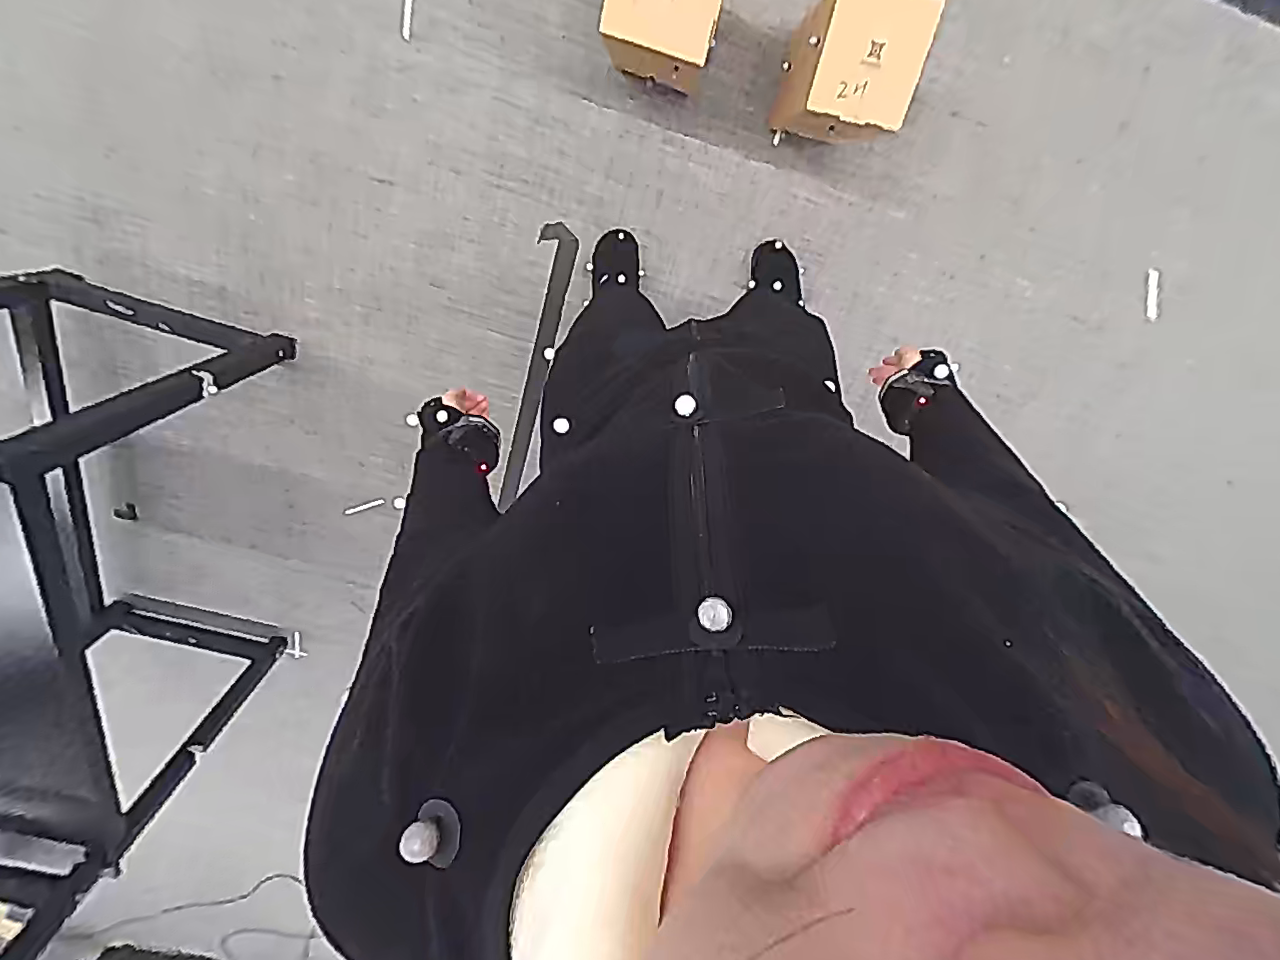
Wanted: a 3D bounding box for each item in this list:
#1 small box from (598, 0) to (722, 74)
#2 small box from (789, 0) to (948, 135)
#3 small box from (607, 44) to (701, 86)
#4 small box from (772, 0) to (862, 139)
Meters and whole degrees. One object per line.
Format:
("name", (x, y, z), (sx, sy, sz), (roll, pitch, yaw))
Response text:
("small box", (0.041, -0.784, 0.871), (0.179, 0.176, 0.168), (14, 118, -6))
("small box", (0.367, -0.704, 0.911), (0.168, 0.176, 0.179), (11, 119, -5))
("small box", (0.046, -0.866, 1.013), (0.179, 0.176, 0.168), (15, 118, -8))
("small box", (0.369, -0.784, 1.055), (0.168, 0.176, 0.179), (9, 118, -5))
